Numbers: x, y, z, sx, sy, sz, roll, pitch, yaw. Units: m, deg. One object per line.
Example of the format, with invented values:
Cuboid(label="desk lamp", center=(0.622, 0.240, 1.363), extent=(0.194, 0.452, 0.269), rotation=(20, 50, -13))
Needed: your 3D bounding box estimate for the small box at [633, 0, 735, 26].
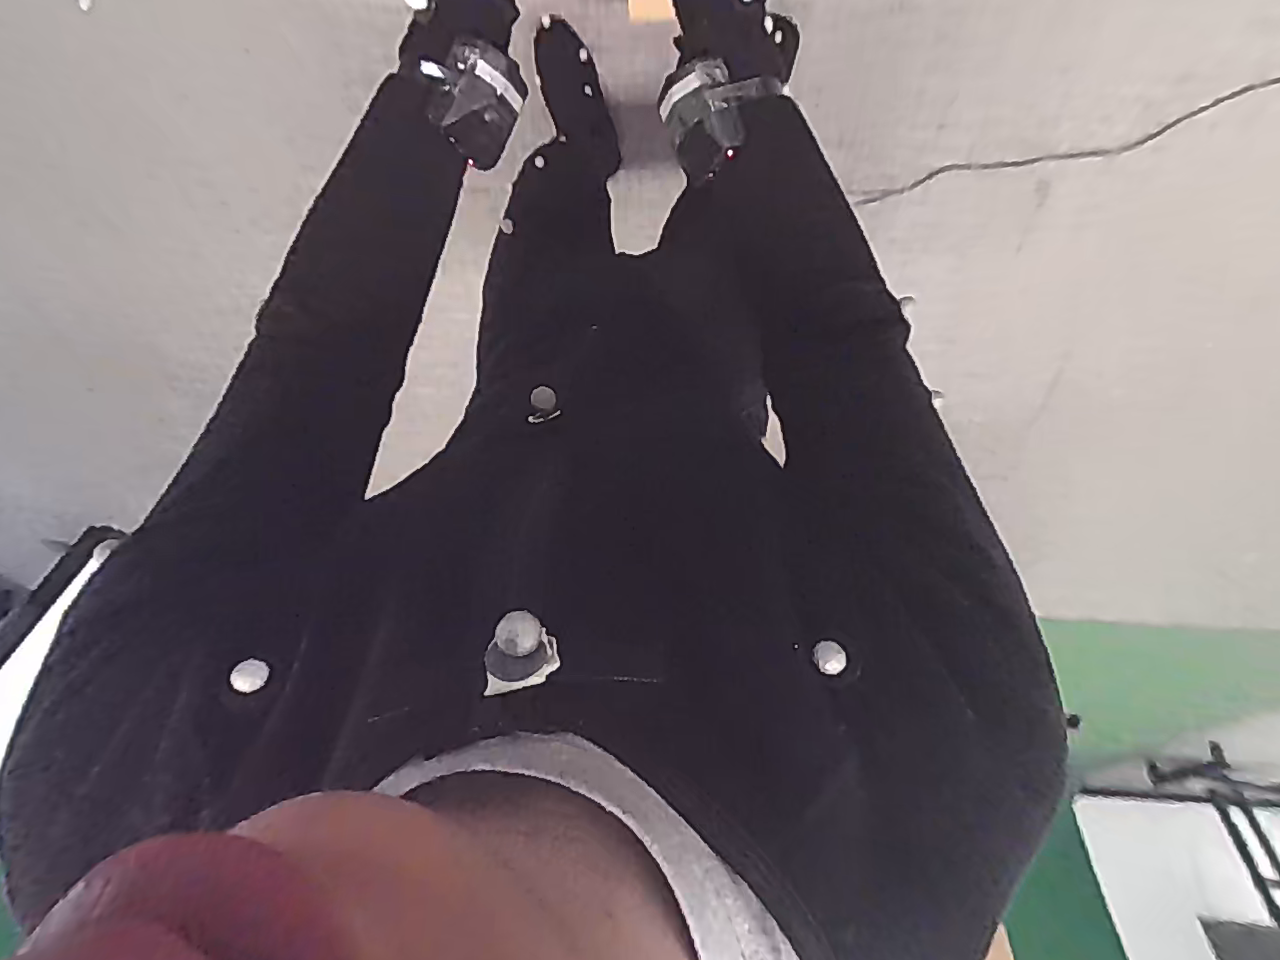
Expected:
Cuboid(label="small box", center=(0.075, -0.860, 0.866), extent=(0.168, 0.176, 0.179), rotation=(3, 141, 6))
